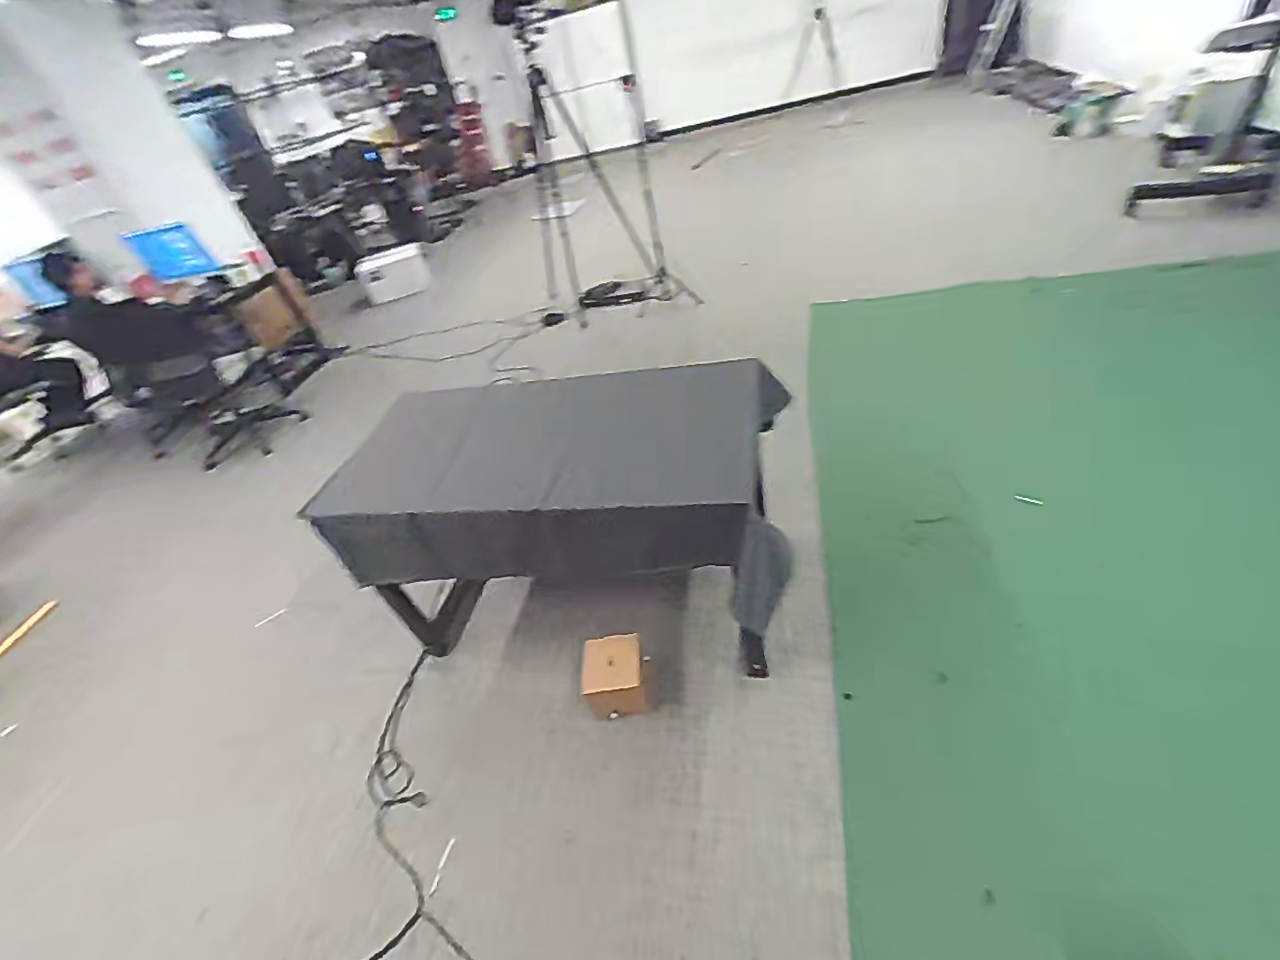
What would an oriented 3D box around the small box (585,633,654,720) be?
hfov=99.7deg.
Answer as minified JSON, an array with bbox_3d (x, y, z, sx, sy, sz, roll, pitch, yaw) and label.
[{"bbox_3d":[-0.057,0.585,1.607,0.168,0.176,0.179,-10,39,8],"label":"small box"}]
